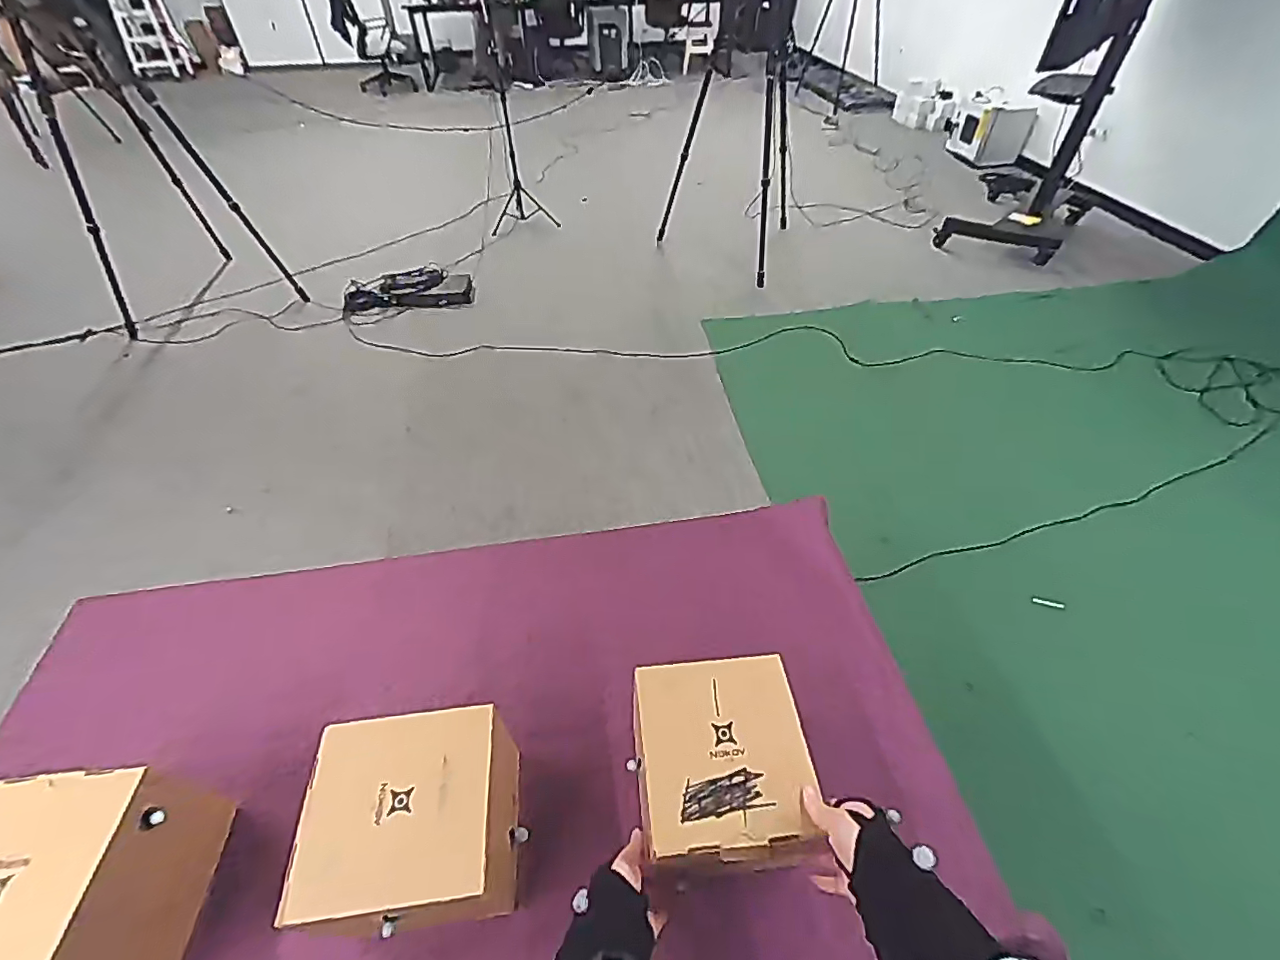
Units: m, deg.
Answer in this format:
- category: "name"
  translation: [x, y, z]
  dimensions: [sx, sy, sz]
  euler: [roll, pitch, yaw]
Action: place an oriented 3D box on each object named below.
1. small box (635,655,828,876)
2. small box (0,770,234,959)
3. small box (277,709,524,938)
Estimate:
- category: "small box"
  translation: [0.084, 0.319, 0.599]
  dimensions: [0.168, 0.176, 0.179]
  euler: [-3, 46, -5]
- category: "small box"
  translation: [-0.557, 0.414, 0.537]
  dimensions: [0.168, 0.176, 0.179]
  euler: [-5, 46, -3]
- category: "small box"
  translation: [-0.228, 0.365, 0.573]
  dimensions: [0.179, 0.176, 0.168]
  euler: [-5, 47, -4]
